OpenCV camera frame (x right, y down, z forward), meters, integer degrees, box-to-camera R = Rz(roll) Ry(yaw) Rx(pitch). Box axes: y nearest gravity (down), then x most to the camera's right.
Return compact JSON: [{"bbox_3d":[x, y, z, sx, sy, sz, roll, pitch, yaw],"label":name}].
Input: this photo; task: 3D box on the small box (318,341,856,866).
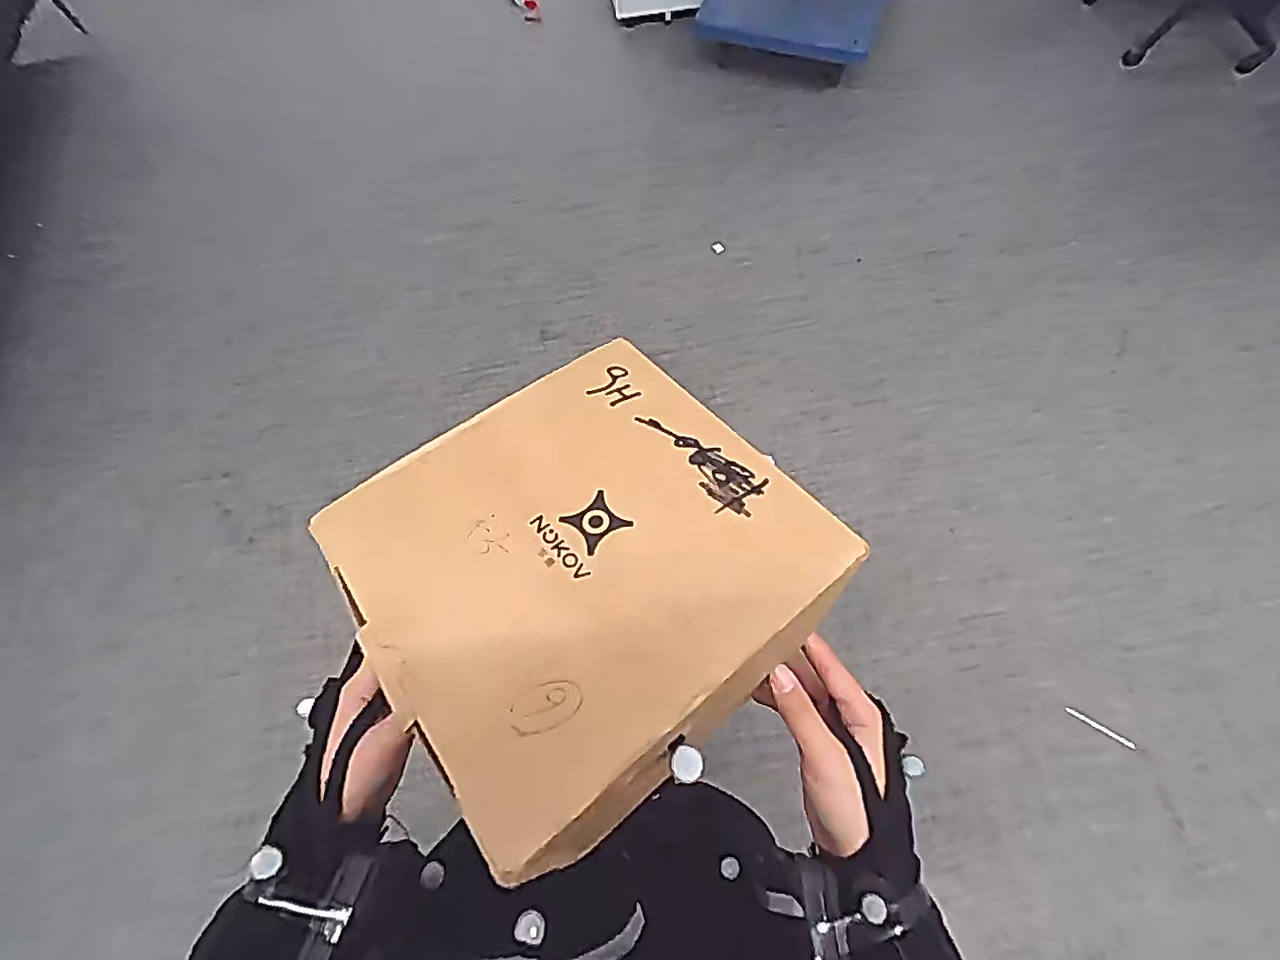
[{"bbox_3d":[-0.022,0.067,0.294,0.179,0.176,0.168,-35,62,-18],"label":"small box"}]
